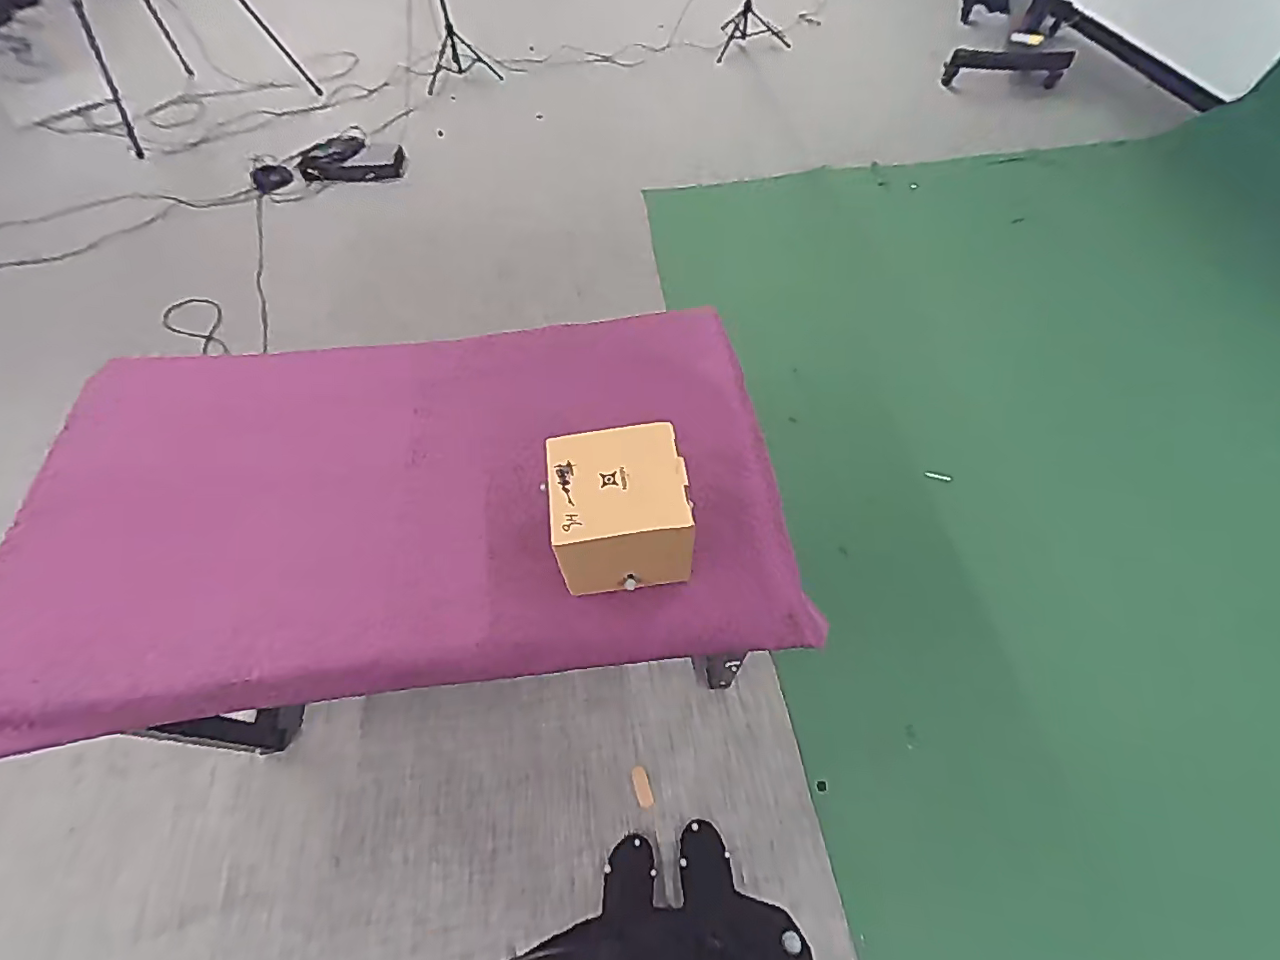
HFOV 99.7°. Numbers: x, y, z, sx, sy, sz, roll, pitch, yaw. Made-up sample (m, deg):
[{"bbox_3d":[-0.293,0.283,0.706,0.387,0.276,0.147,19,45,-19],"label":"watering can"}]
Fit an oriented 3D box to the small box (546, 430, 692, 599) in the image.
[{"bbox_3d":[-0.031,0.052,0.757,0.179,0.176,0.168,-7,55,-3],"label":"small box"}]
